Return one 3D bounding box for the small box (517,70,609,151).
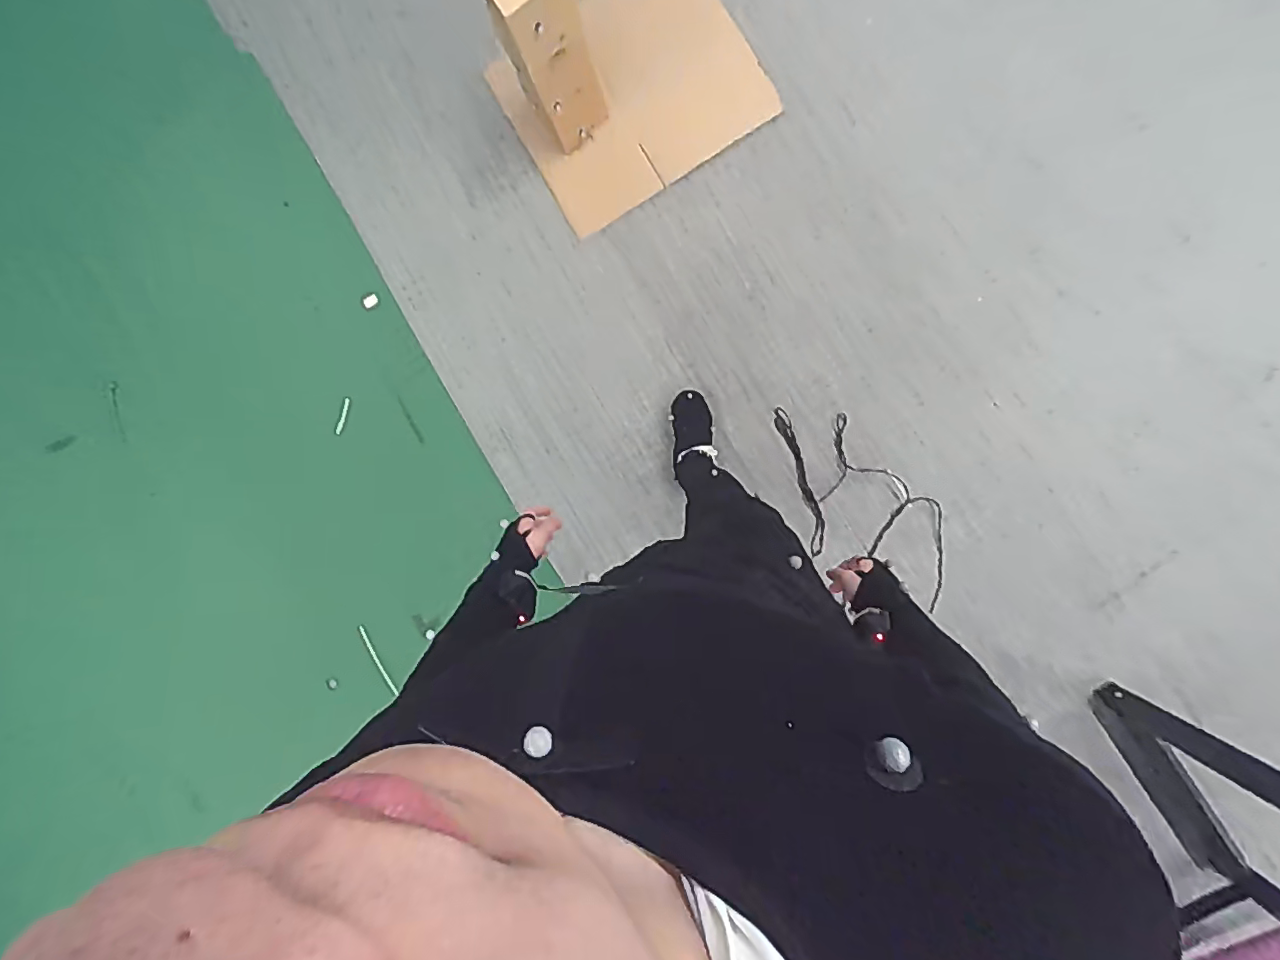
[{"bbox_3d":[-0.209,-1.080,1.519,0.168,0.176,0.179,-38,87,6],"label":"small box"}]

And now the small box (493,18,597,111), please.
[{"bbox_3d":[-0.229,-1.076,1.357,0.168,0.176,0.179,-34,86,7],"label":"small box"}]

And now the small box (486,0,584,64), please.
[{"bbox_3d":[-0.246,-1.076,1.196,0.168,0.176,0.179,-34,87,7],"label":"small box"}]
